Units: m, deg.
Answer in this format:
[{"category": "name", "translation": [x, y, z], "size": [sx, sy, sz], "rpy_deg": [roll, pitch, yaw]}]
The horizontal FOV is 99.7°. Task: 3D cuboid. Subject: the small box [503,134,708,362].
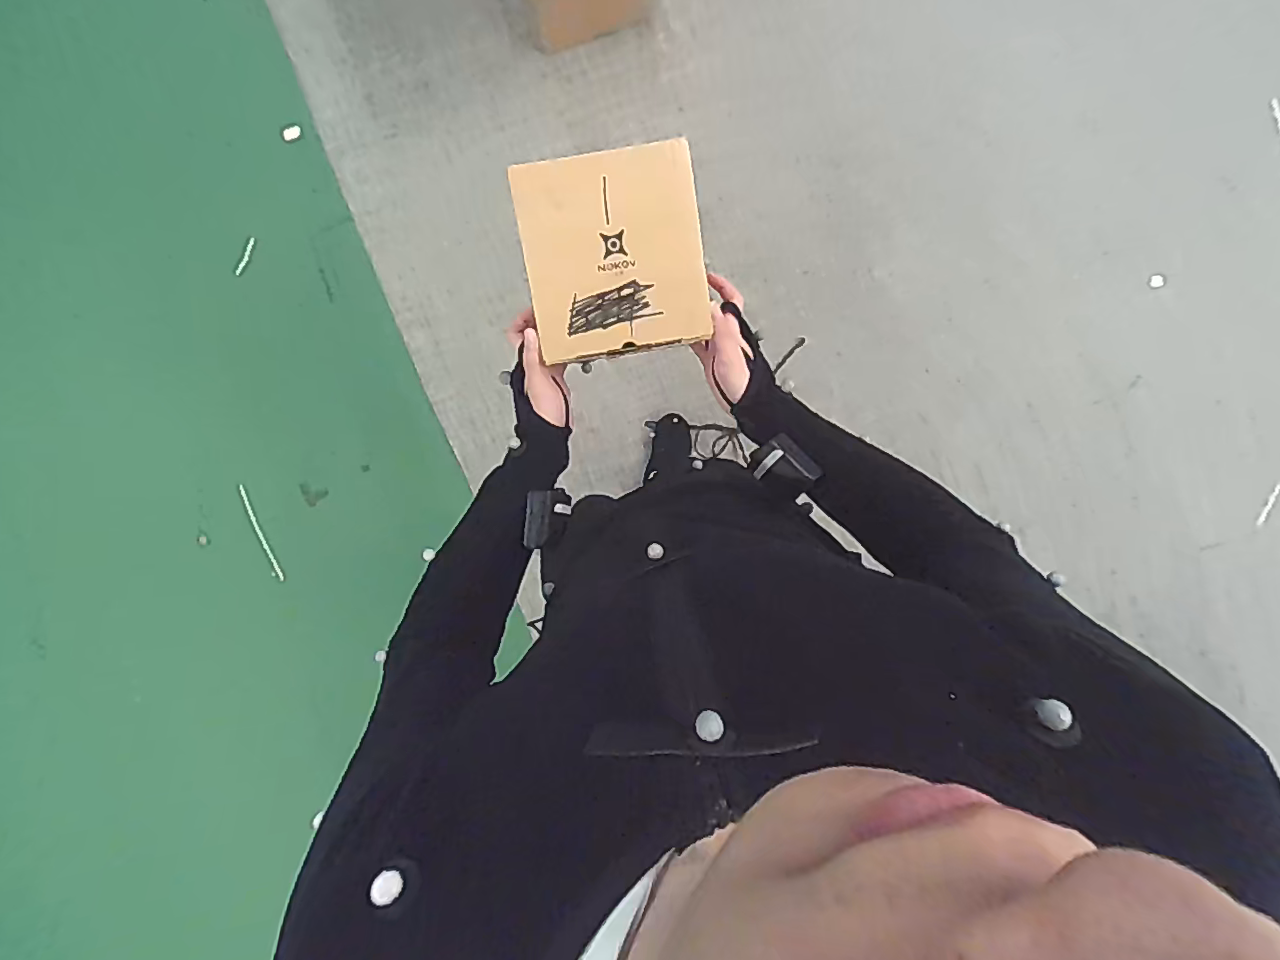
[{"category": "small box", "translation": [-0.029, -0.220, 0.563], "size": [0.168, 0.176, 0.179], "rpy_deg": [-9, 100, -1]}]
